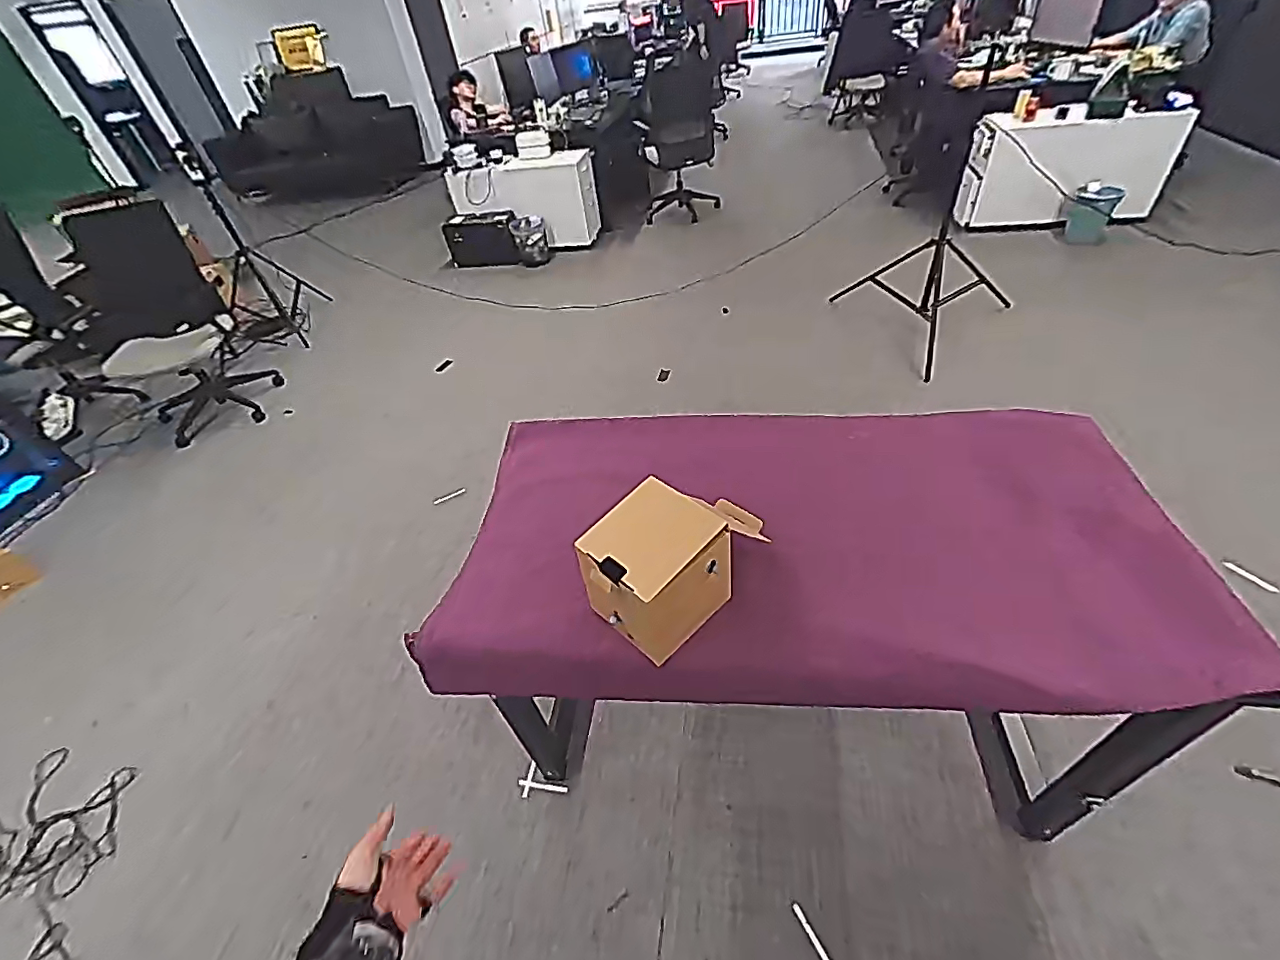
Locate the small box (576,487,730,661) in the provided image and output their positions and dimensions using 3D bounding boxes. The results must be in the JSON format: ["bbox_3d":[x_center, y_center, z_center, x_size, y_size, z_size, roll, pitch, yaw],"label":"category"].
[{"bbox_3d":[0.025,0.148,0.865,0.179,0.176,0.168,-36,47,-27],"label":"small box"}]
